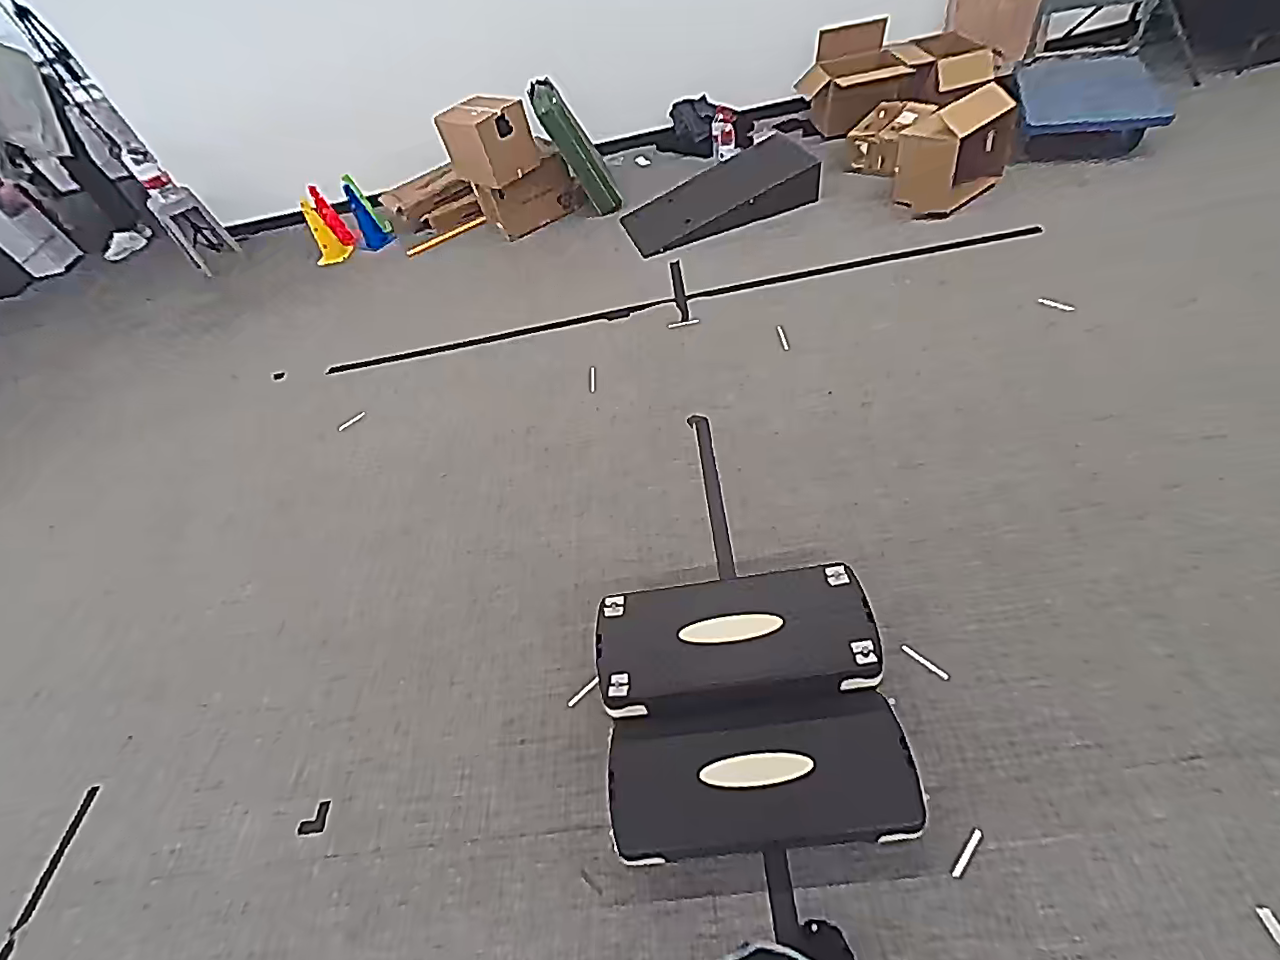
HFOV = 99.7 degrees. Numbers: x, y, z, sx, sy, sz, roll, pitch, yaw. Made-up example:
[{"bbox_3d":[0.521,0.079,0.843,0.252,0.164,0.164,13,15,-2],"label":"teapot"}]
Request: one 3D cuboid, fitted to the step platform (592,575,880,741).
[{"bbox_3d":[0.222,0.440,1.350,0.684,0.204,0.286,-10,51,4],"label":"step platform"}]
